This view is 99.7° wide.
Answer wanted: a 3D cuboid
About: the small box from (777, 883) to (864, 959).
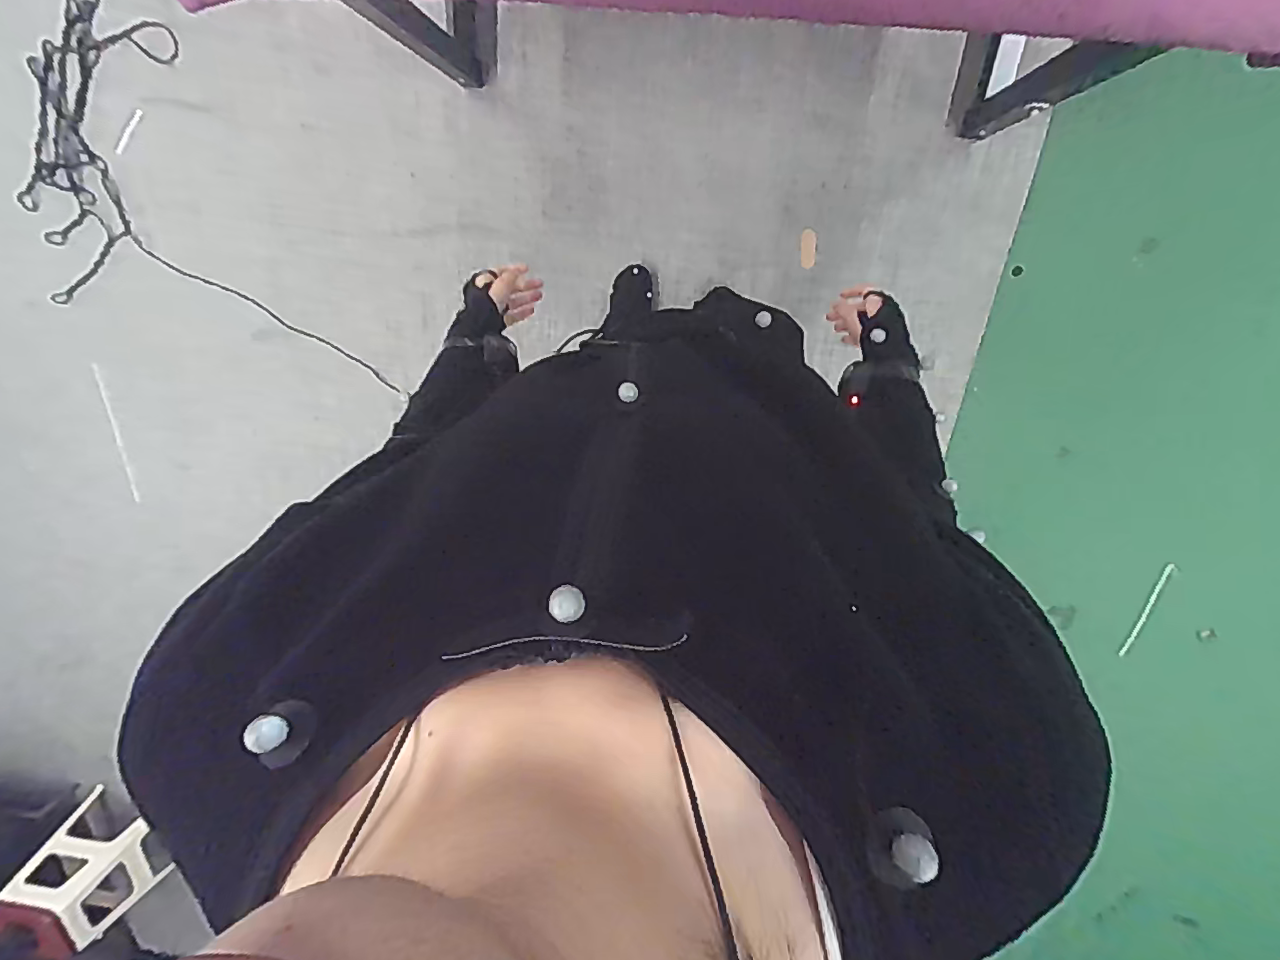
[{"bbox_3d":[0.451,1.165,1.372,0.179,0.176,0.168,0,111,8],"label":"small box"}]
